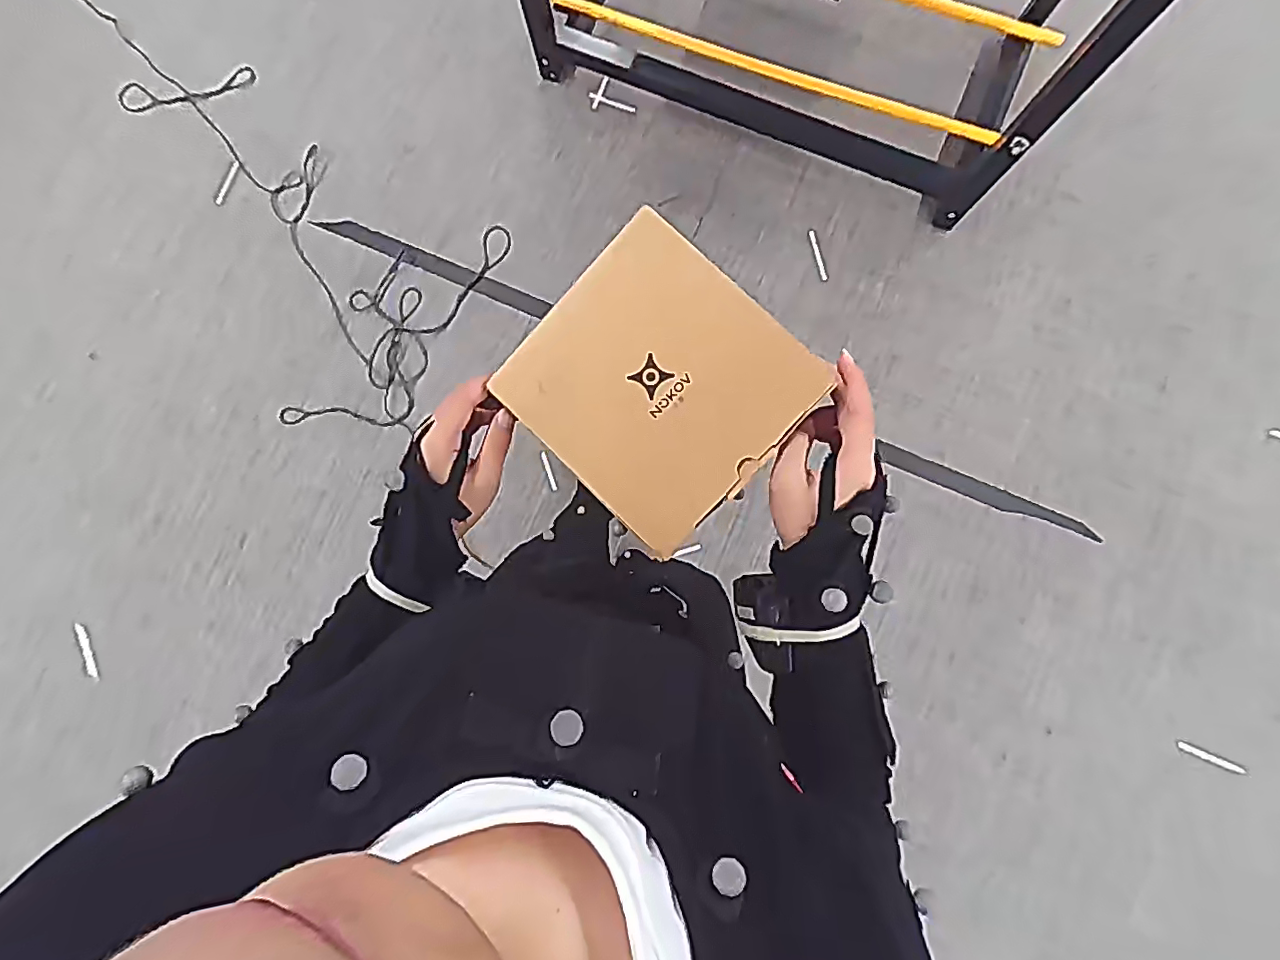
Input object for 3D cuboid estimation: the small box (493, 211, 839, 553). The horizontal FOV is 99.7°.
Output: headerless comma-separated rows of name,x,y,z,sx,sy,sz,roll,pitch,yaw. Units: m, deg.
small box,0.022,-0.064,0.439,0.179,0.176,0.168,44,95,5
